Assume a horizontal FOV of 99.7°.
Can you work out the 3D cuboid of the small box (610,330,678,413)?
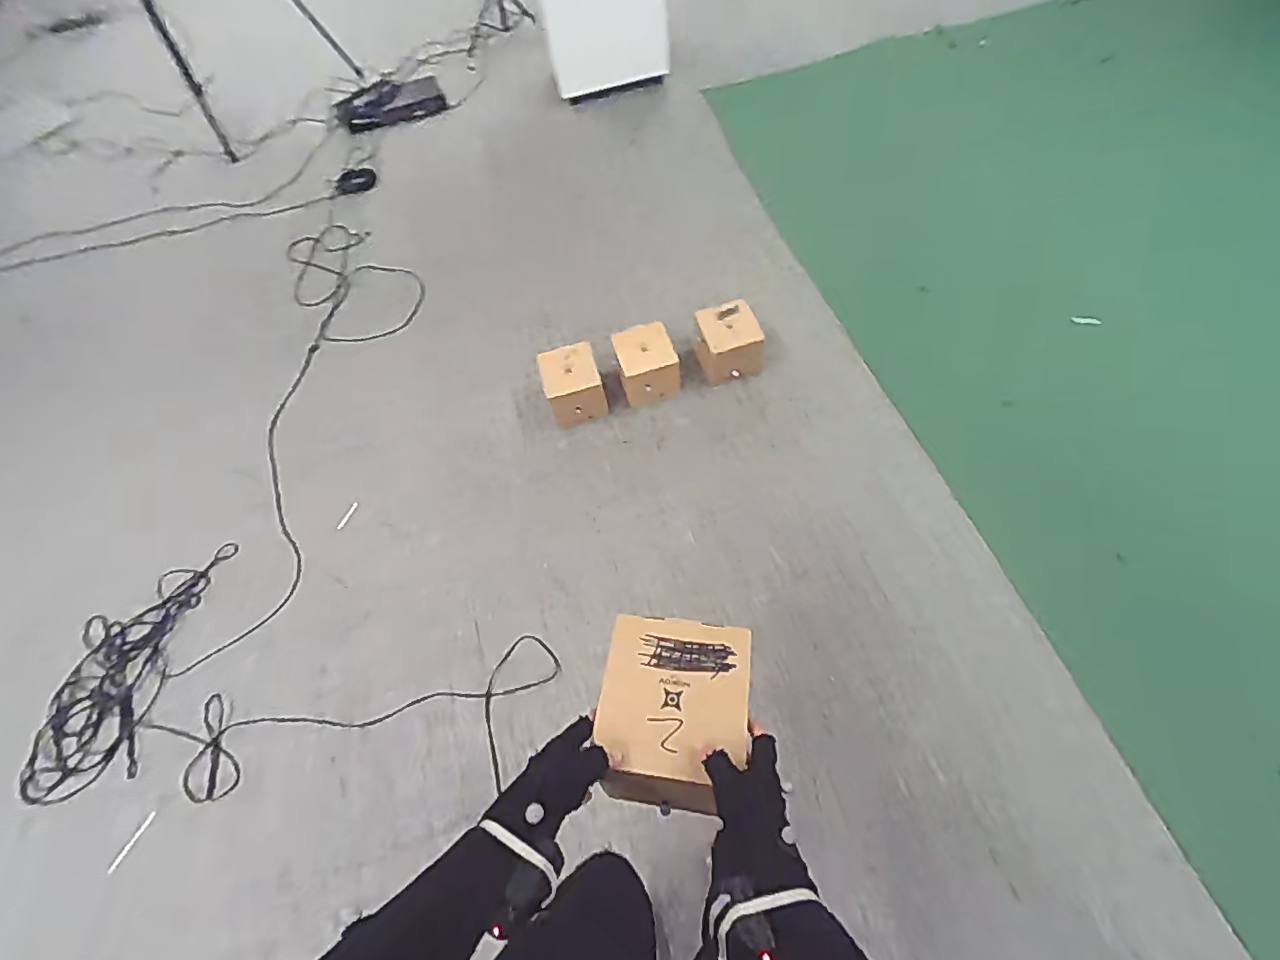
[{"bbox_3d":[0.018,-0.330,1.685,0.168,0.176,0.179,-18,61,-4],"label":"small box"}]

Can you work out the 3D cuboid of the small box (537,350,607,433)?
[{"bbox_3d":[-0.205,-0.265,1.670,0.168,0.176,0.179,-16,61,-3],"label":"small box"}]

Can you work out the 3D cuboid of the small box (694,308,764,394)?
[{"bbox_3d":[0.271,-0.400,1.696,0.168,0.176,0.179,-17,62,-4],"label":"small box"}]
